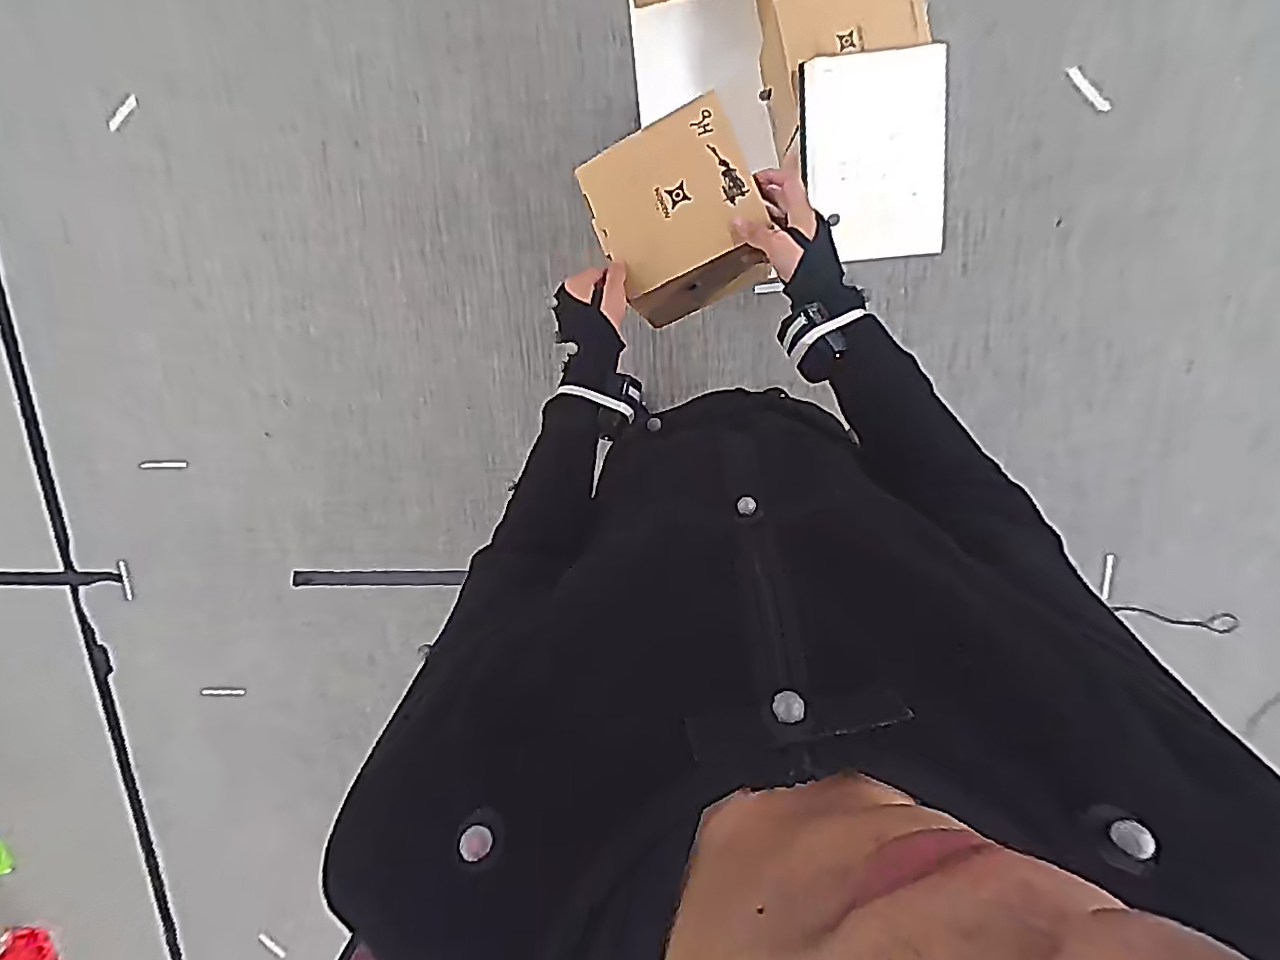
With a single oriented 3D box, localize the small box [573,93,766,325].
[{"bbox_3d":[0.048,-0.313,0.671,0.179,0.176,0.168,-23,90,14],"label":"small box"}]
